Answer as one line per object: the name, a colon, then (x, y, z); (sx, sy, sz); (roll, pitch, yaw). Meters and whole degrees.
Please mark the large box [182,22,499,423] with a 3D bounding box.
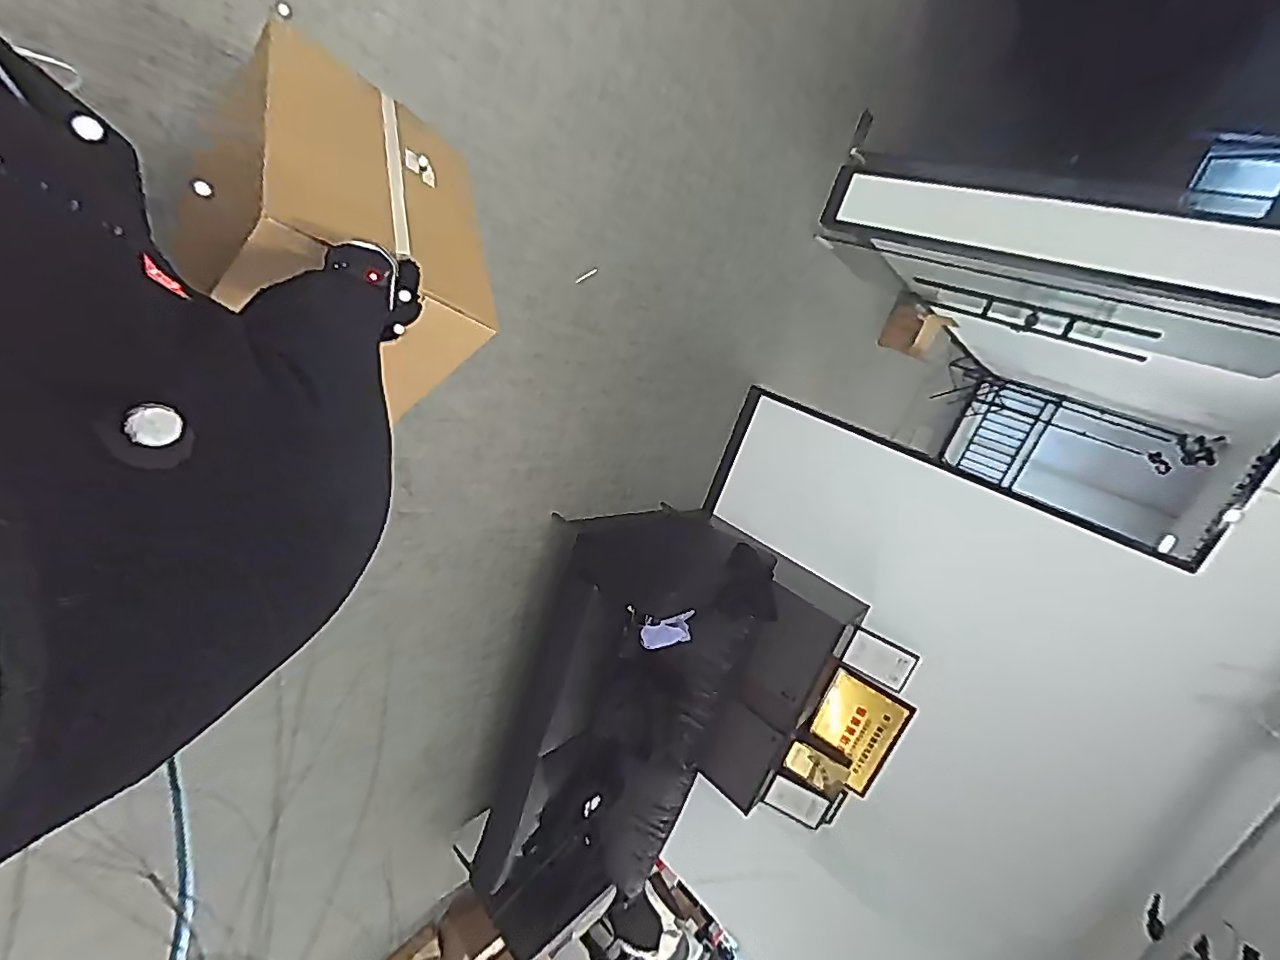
large box: (-0.466, -0.357, 0.845); (0.320, 0.408, 0.320); (-30, 153, 28)
